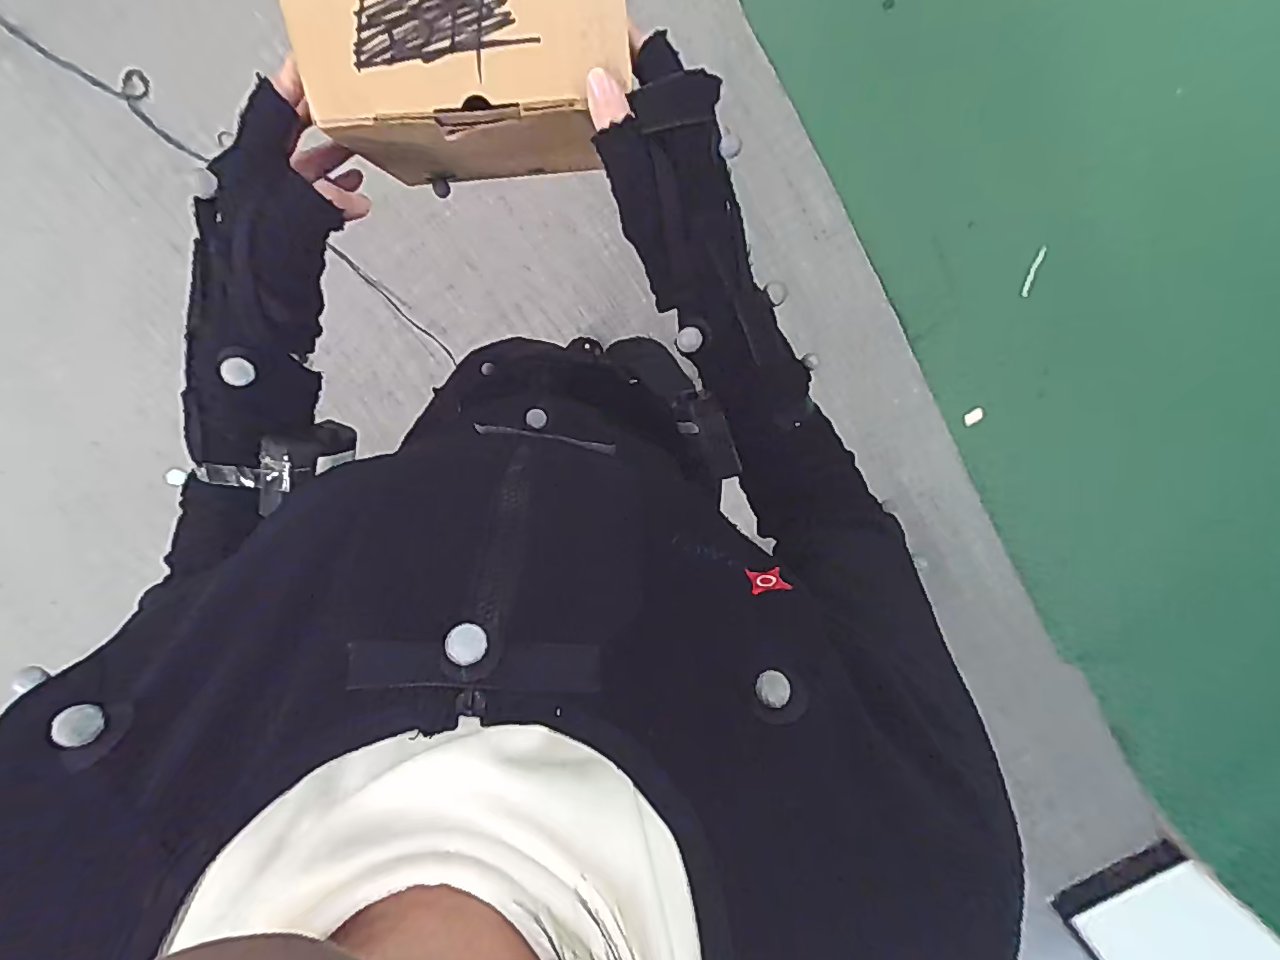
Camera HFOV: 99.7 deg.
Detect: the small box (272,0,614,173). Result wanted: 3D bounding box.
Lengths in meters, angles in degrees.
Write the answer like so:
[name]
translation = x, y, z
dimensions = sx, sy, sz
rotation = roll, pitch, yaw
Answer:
[small box]
translation = -0.108, -0.302, 0.330
dimensions = 0.168, 0.176, 0.179
rotation = -8, 108, -4
